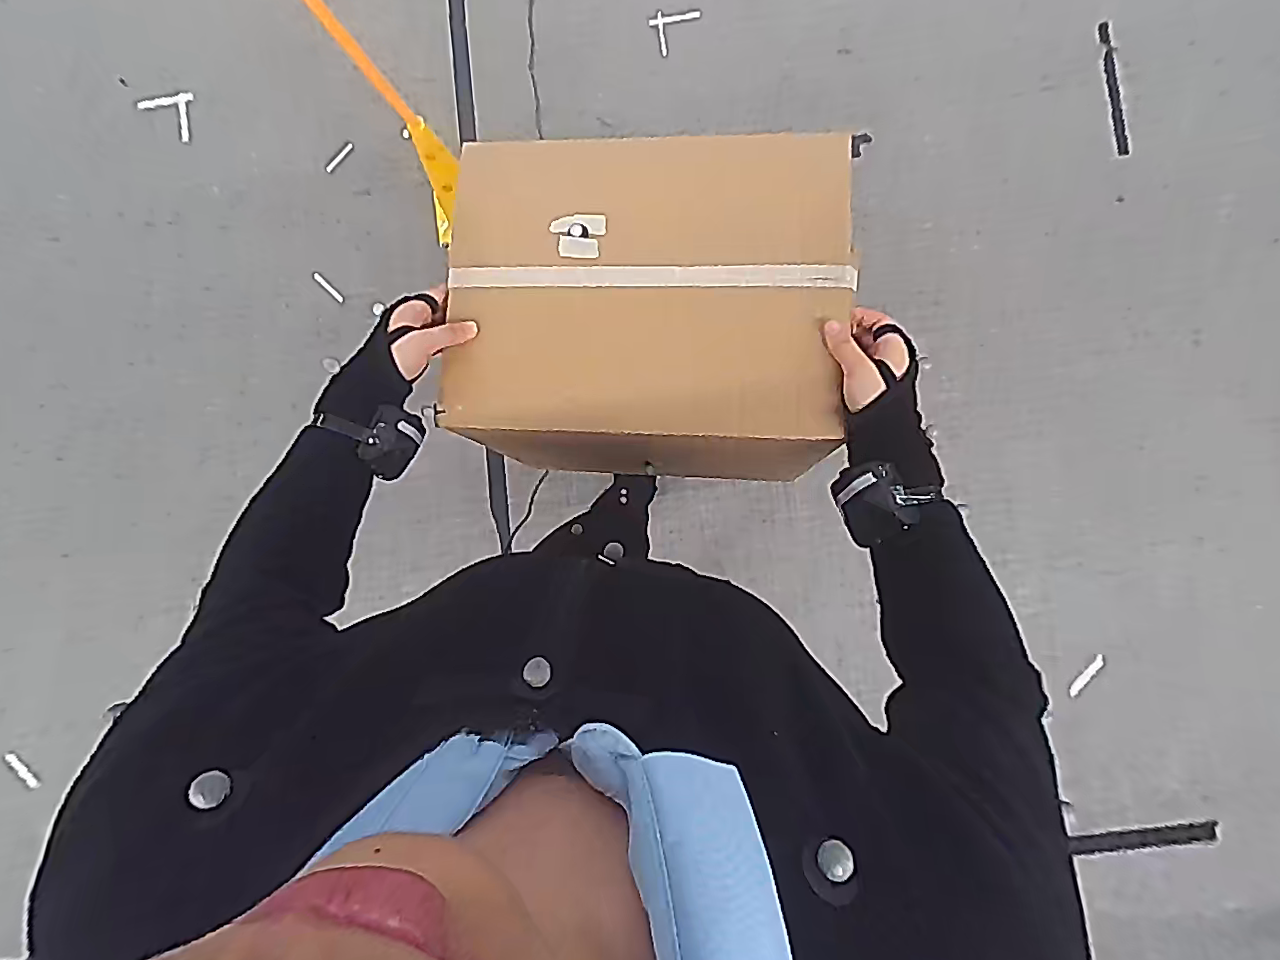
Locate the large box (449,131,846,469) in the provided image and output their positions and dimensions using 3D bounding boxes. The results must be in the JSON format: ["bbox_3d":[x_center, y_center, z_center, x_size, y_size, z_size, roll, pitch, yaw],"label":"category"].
[{"bbox_3d":[0.025,-0.188,0.699,0.408,0.320,0.320,2,82,8],"label":"large box"}]
